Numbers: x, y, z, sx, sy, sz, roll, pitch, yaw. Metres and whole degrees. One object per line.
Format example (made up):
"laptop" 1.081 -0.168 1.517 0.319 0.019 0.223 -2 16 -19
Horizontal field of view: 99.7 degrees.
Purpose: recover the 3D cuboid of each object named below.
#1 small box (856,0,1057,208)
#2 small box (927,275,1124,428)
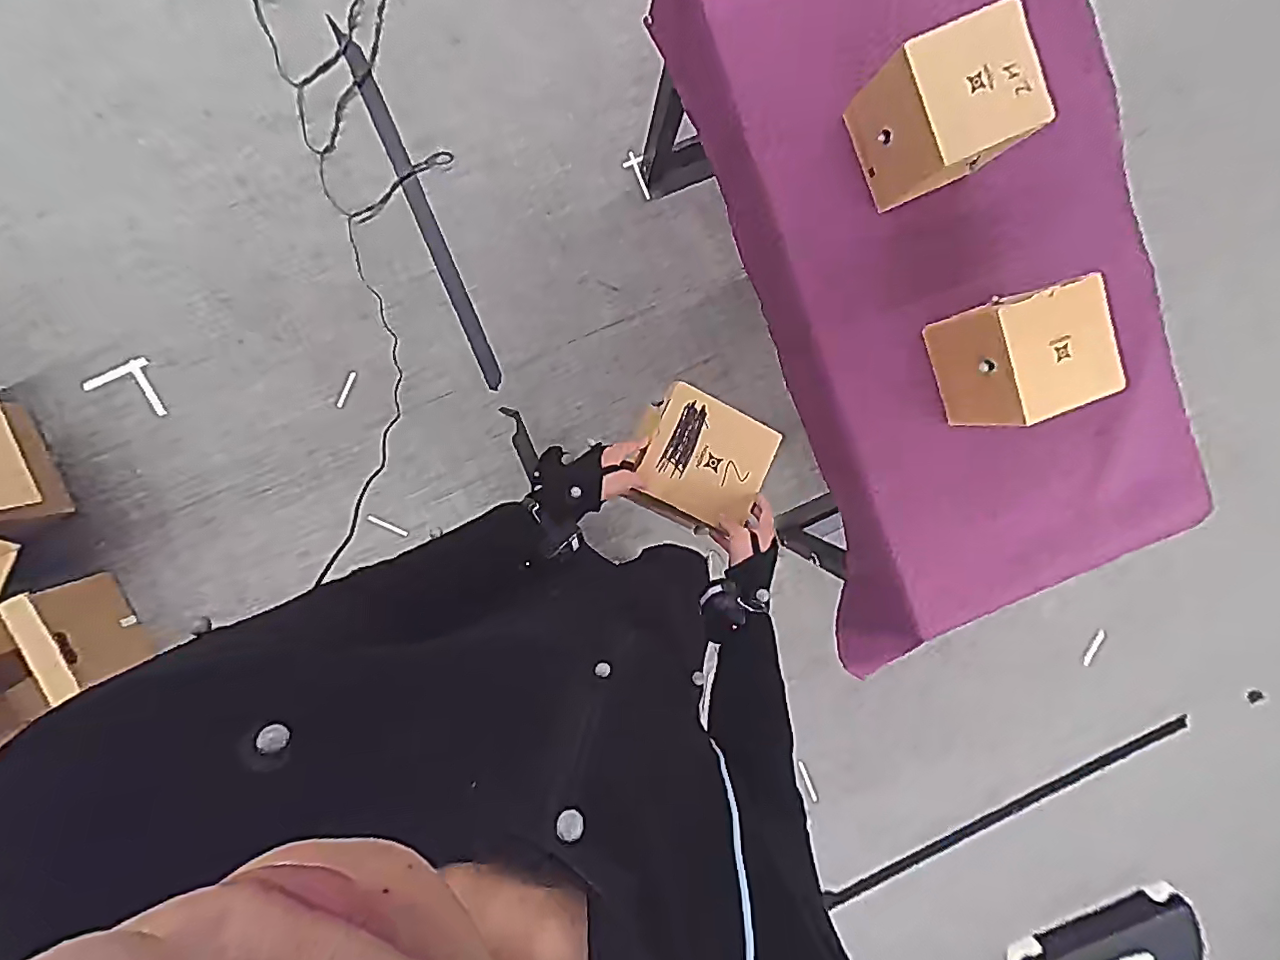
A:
"small box" 0.443 -0.532 0.789 0.179 0.176 0.168 -25 99 -4
"small box" 0.589 -0.191 0.846 0.168 0.176 0.179 -20 97 -4
